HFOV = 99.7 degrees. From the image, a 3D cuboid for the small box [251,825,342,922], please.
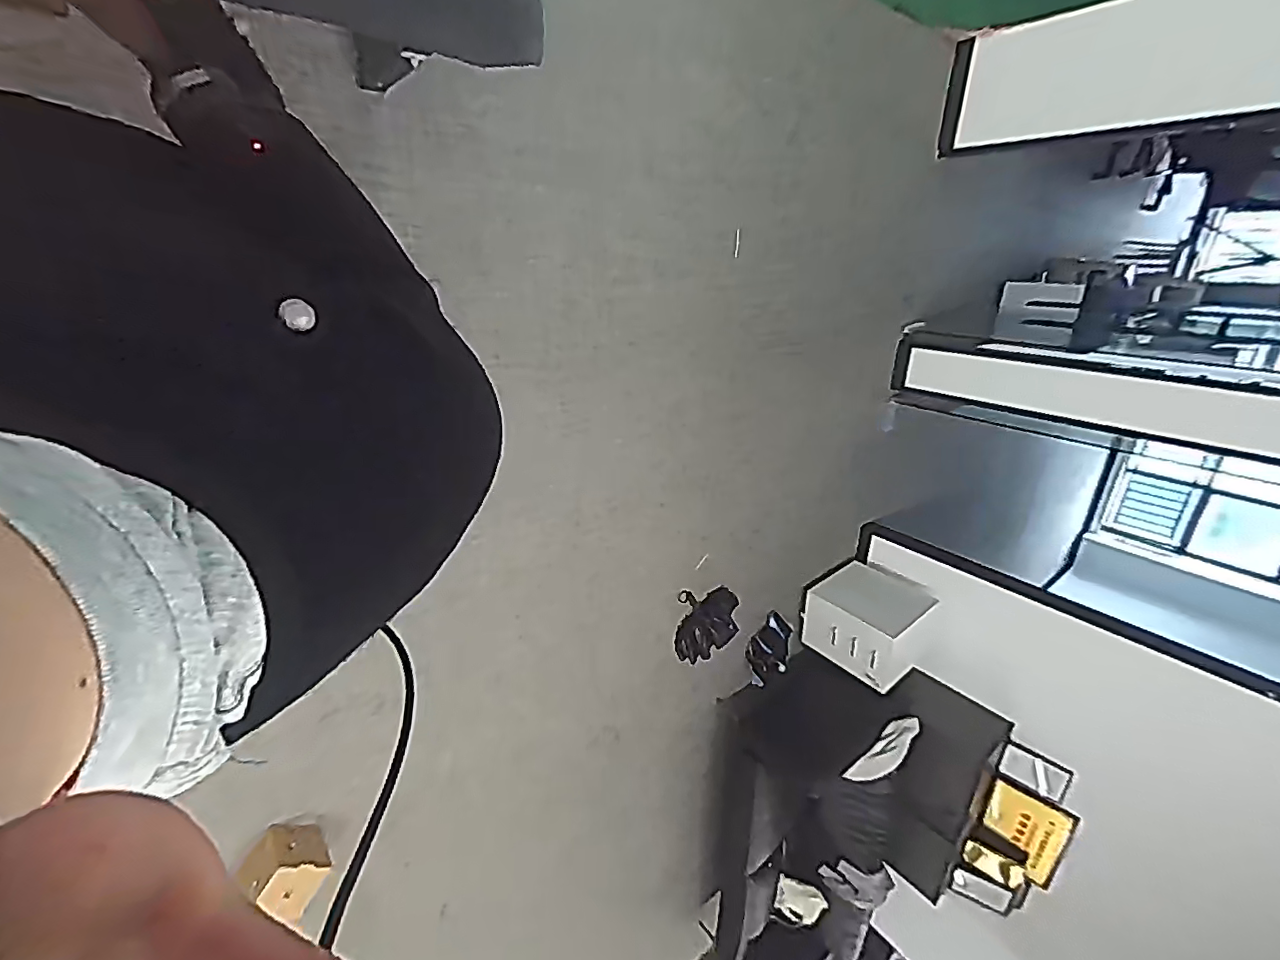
[{"bbox_3d":[-1.060,1.196,1.658,0.168,0.176,0.179,39,82,-43],"label":"small box"}]
